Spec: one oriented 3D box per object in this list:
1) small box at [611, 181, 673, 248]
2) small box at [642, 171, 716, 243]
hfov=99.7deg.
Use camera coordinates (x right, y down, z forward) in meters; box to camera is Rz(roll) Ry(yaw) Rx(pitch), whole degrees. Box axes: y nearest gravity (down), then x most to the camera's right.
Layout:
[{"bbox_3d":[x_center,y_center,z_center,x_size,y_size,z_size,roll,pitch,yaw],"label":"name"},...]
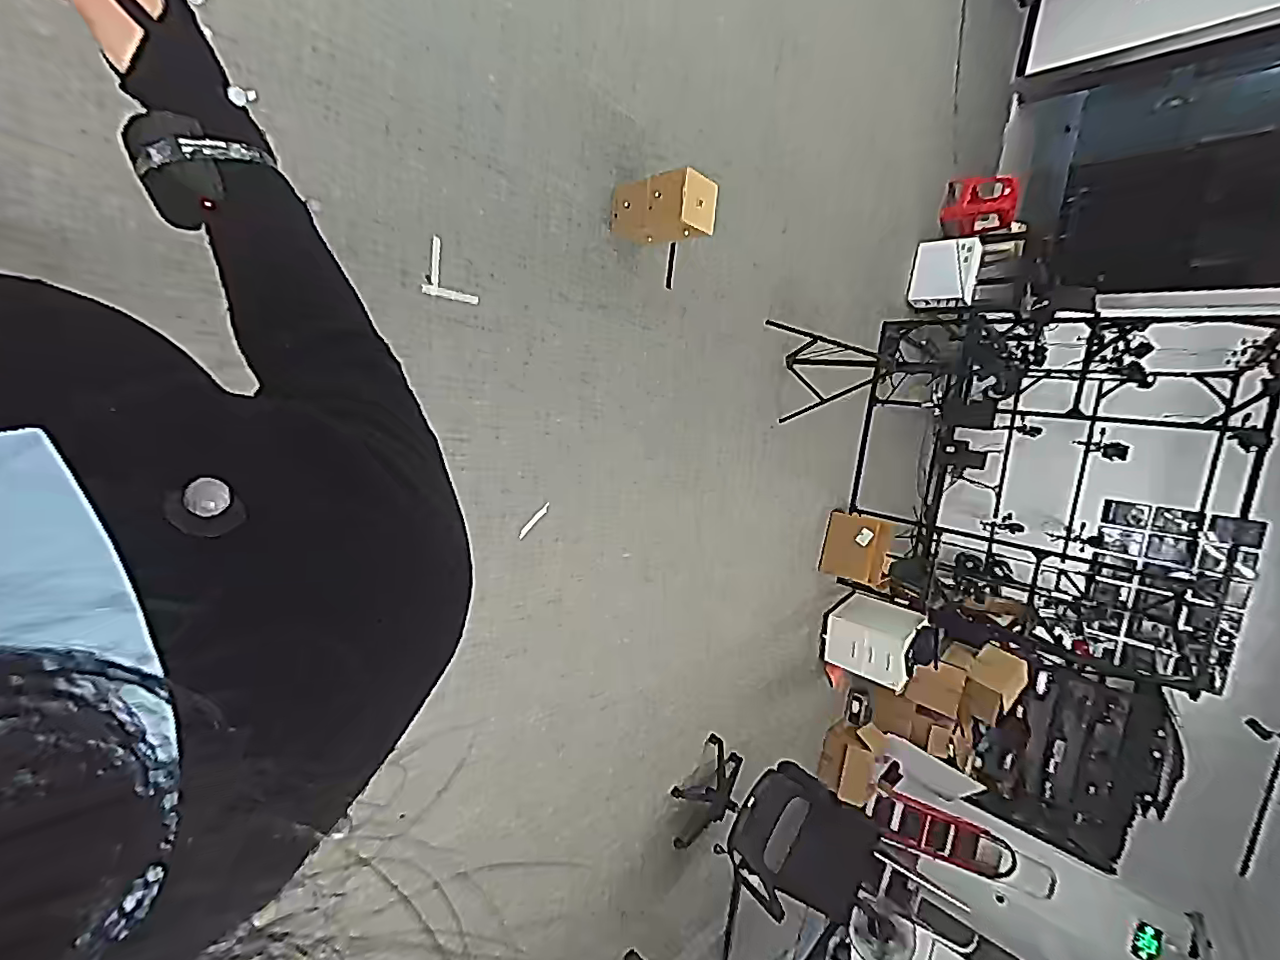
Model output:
[{"bbox_3d":[0.013,-0.944,1.938,0.179,0.176,0.168,-5,104,-48],"label":"small box"},{"bbox_3d":[0.133,-0.916,1.832,0.179,0.176,0.168,-3,102,-47],"label":"small box"}]
